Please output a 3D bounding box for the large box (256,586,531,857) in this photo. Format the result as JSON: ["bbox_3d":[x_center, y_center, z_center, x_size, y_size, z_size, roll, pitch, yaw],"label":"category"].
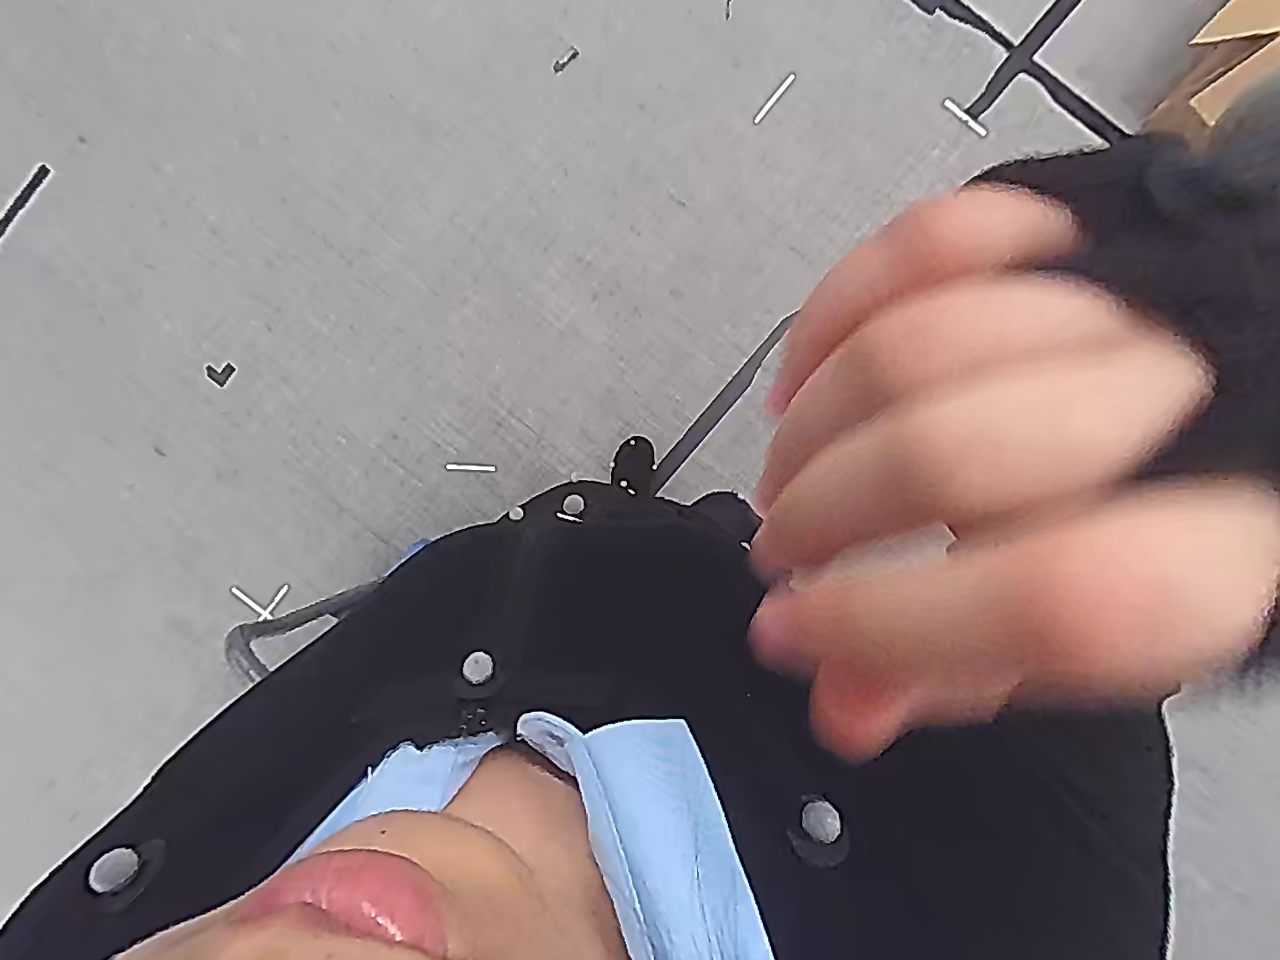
[{"bbox_3d":[-0.521,0.513,1.226,0.408,0.320,0.320,44,93,0],"label":"large box"}]
